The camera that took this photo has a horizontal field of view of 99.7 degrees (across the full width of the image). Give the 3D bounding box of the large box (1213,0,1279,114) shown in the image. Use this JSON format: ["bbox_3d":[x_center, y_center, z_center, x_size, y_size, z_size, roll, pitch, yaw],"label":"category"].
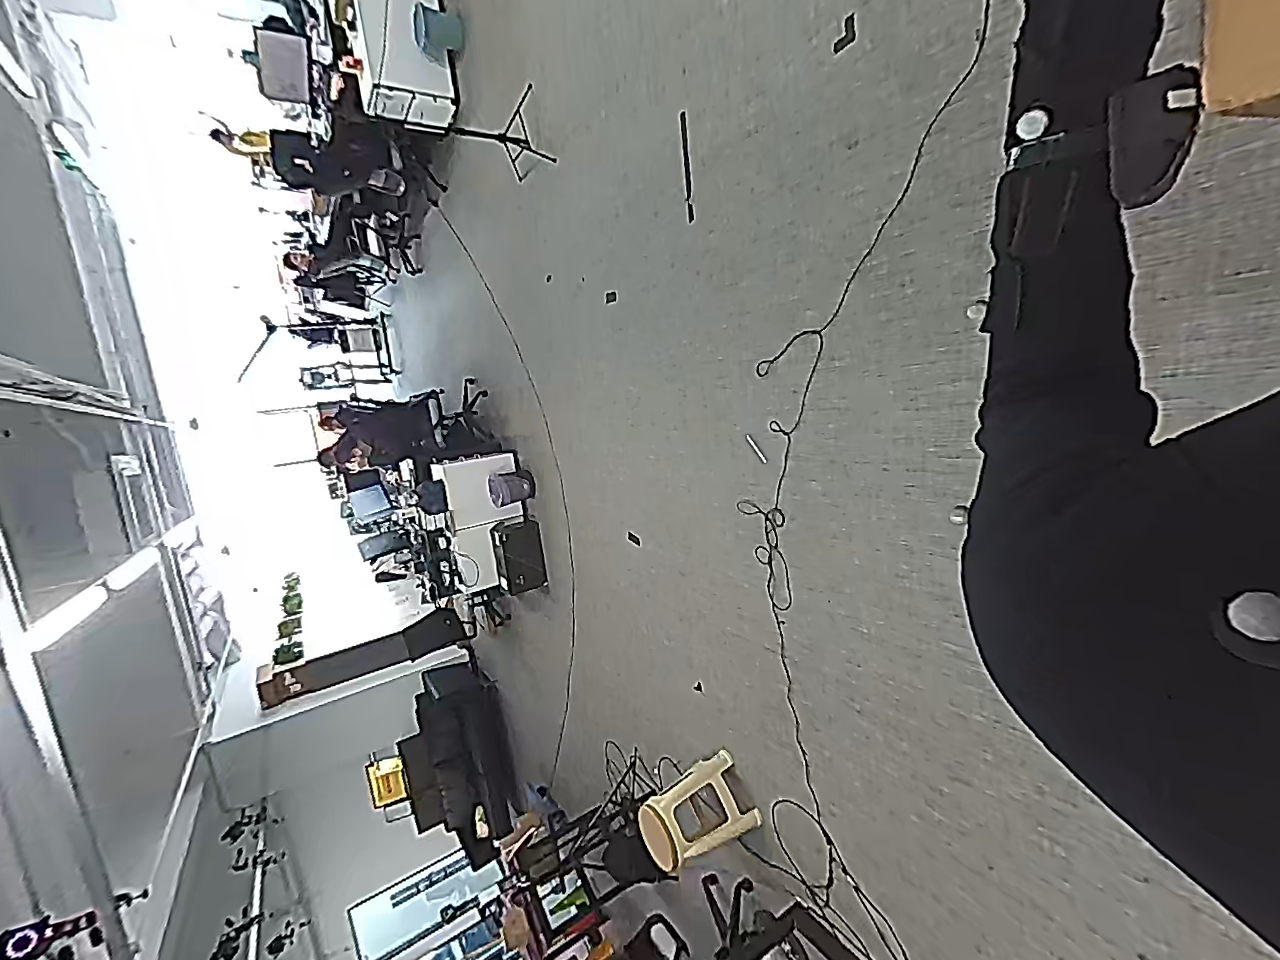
[{"bbox_3d":[0.501,-0.377,0.168,0.408,0.320,0.320,8,115,57],"label":"large box"}]
